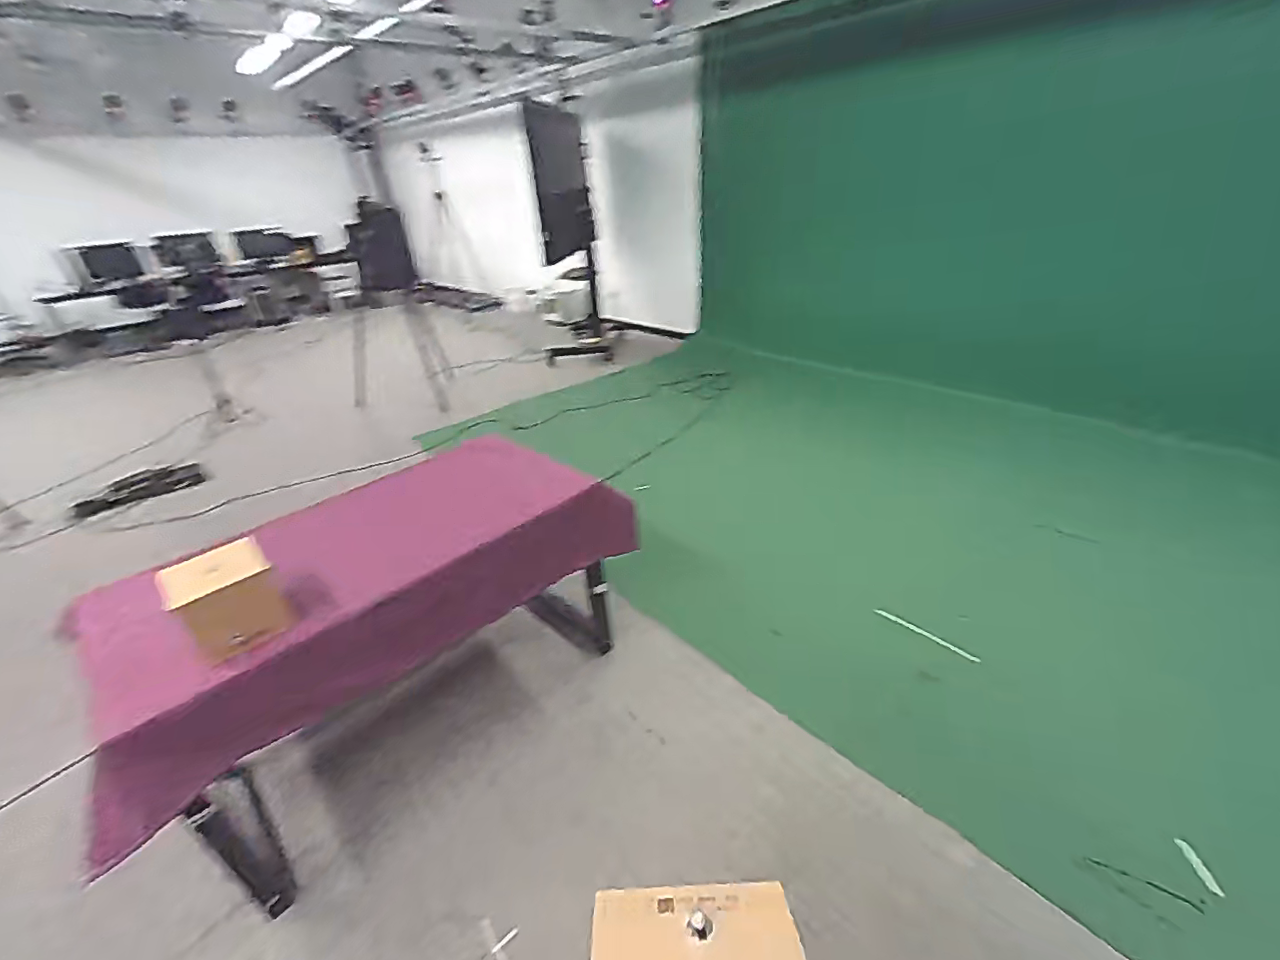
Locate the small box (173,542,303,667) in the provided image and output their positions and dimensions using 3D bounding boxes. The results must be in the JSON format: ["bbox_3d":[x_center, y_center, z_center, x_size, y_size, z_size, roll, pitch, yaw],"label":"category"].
[{"bbox_3d":[-0.870,0.268,1.176,0.168,0.176,0.179,-29,38,-35],"label":"small box"}]
